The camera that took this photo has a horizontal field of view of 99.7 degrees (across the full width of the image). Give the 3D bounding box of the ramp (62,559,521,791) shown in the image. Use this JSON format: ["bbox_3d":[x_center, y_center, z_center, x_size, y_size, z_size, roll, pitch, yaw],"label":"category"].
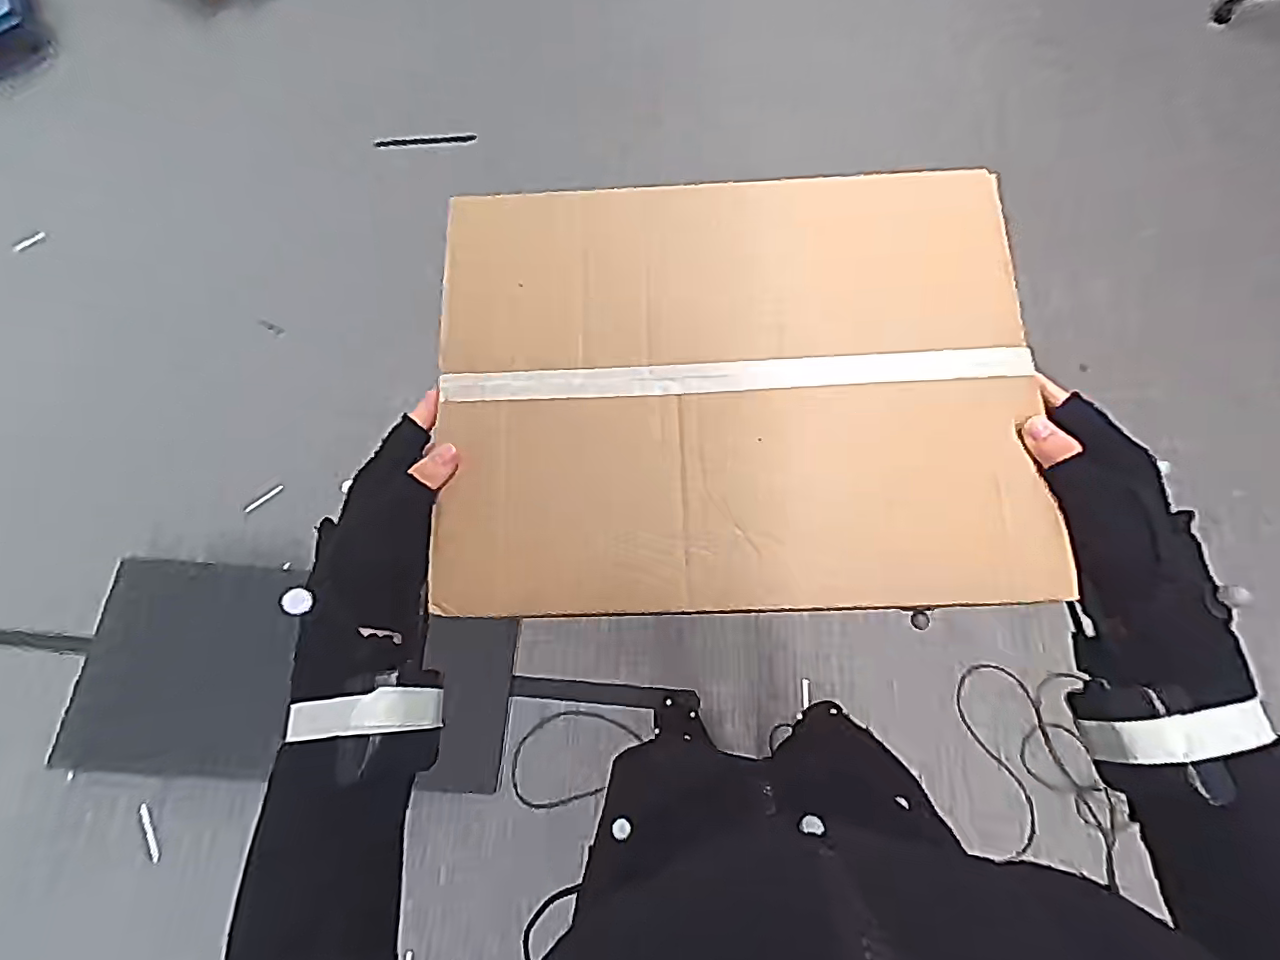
[{"bbox_3d":[-0.814,0.472,1.344,0.991,0.206,0.509,0,71,6],"label":"ramp"}]

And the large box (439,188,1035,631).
[{"bbox_3d":[0.061,-0.031,0.534,0.408,0.320,0.320,-3,77,2],"label":"large box"}]
